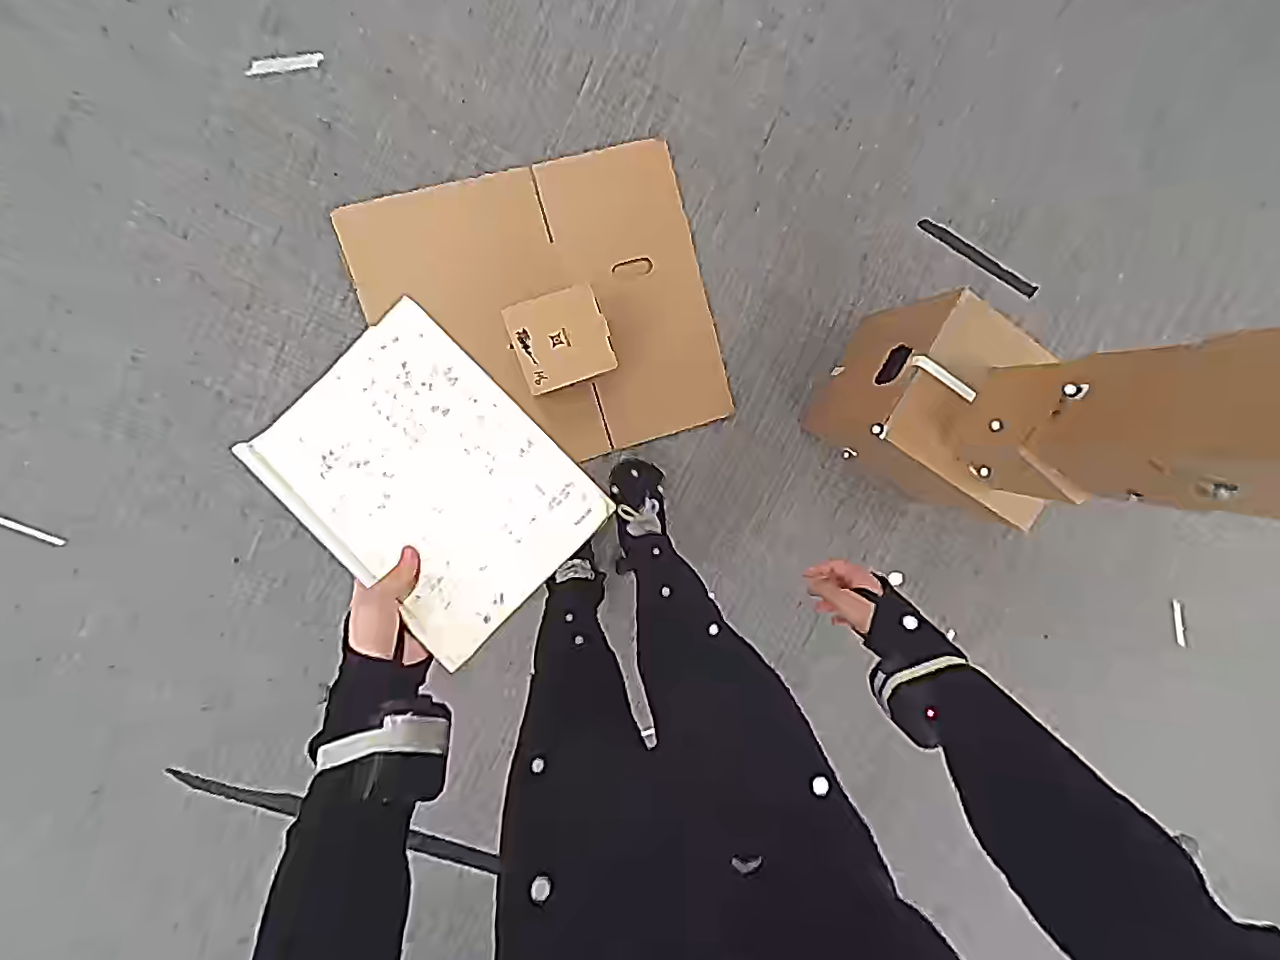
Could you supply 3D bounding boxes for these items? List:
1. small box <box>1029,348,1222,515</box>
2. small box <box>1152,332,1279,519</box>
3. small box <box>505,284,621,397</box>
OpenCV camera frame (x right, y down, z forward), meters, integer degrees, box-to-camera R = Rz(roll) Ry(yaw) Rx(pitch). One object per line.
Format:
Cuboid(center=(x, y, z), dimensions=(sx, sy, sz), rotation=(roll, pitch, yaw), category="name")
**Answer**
Cuboid(center=(0.731, -0.072, 0.787), dimensions=(0.179, 0.176, 0.168), rotation=(29, 91, -12), category="small box")
Cuboid(center=(0.765, -0.062, 0.626), dimensions=(0.168, 0.176, 0.179), rotation=(31, 91, -13), category="small box")
Cuboid(center=(-0.157, -0.270, 1.071), dimensions=(0.179, 0.176, 0.168), rotation=(-20, 102, -9), category="small box")
